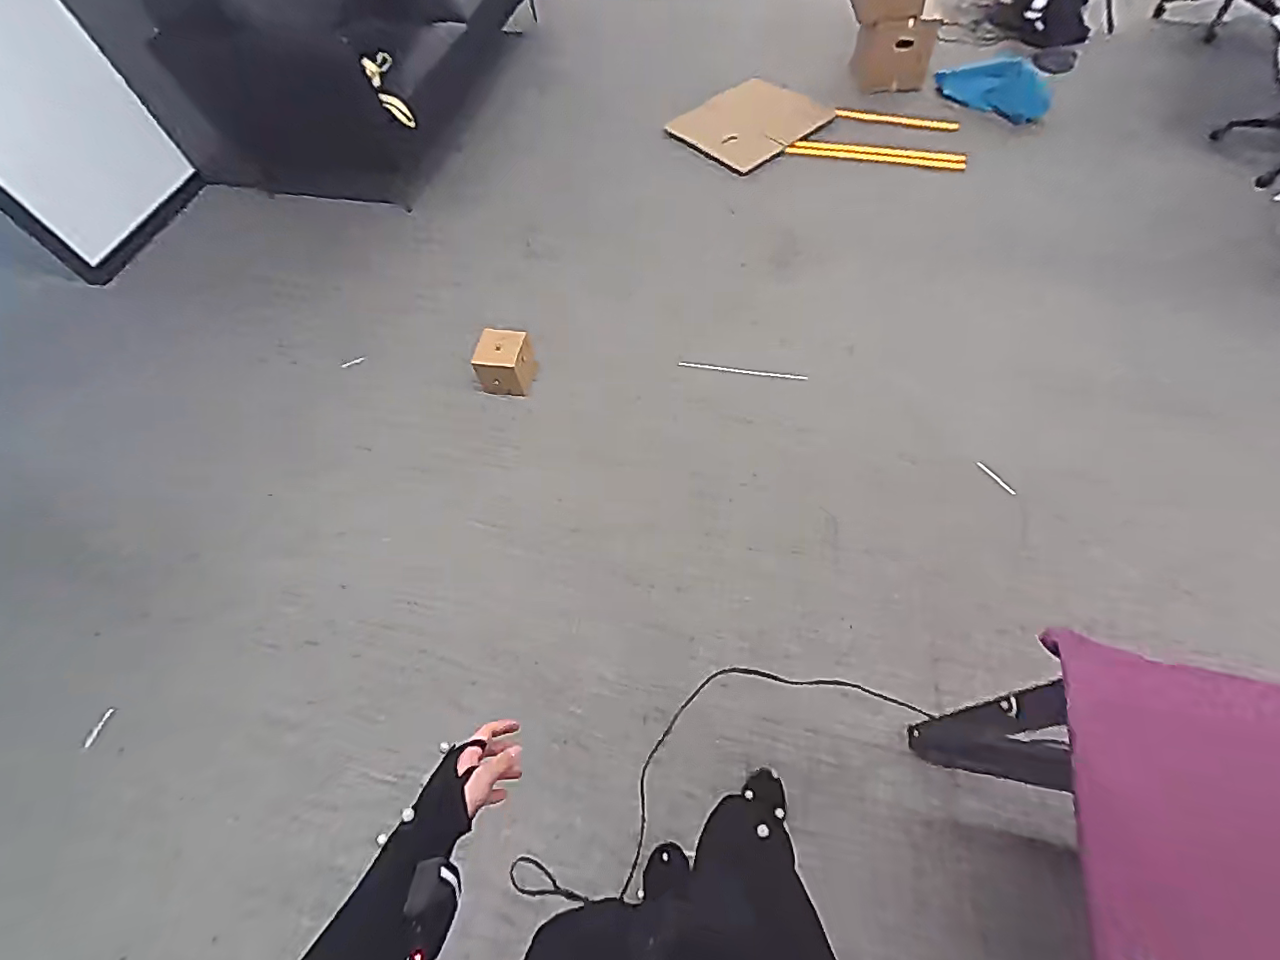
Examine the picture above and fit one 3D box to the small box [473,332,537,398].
[{"bbox_3d":[-0.502,-0.430,2.036,0.168,0.176,0.179,7,60,8],"label":"small box"}]
